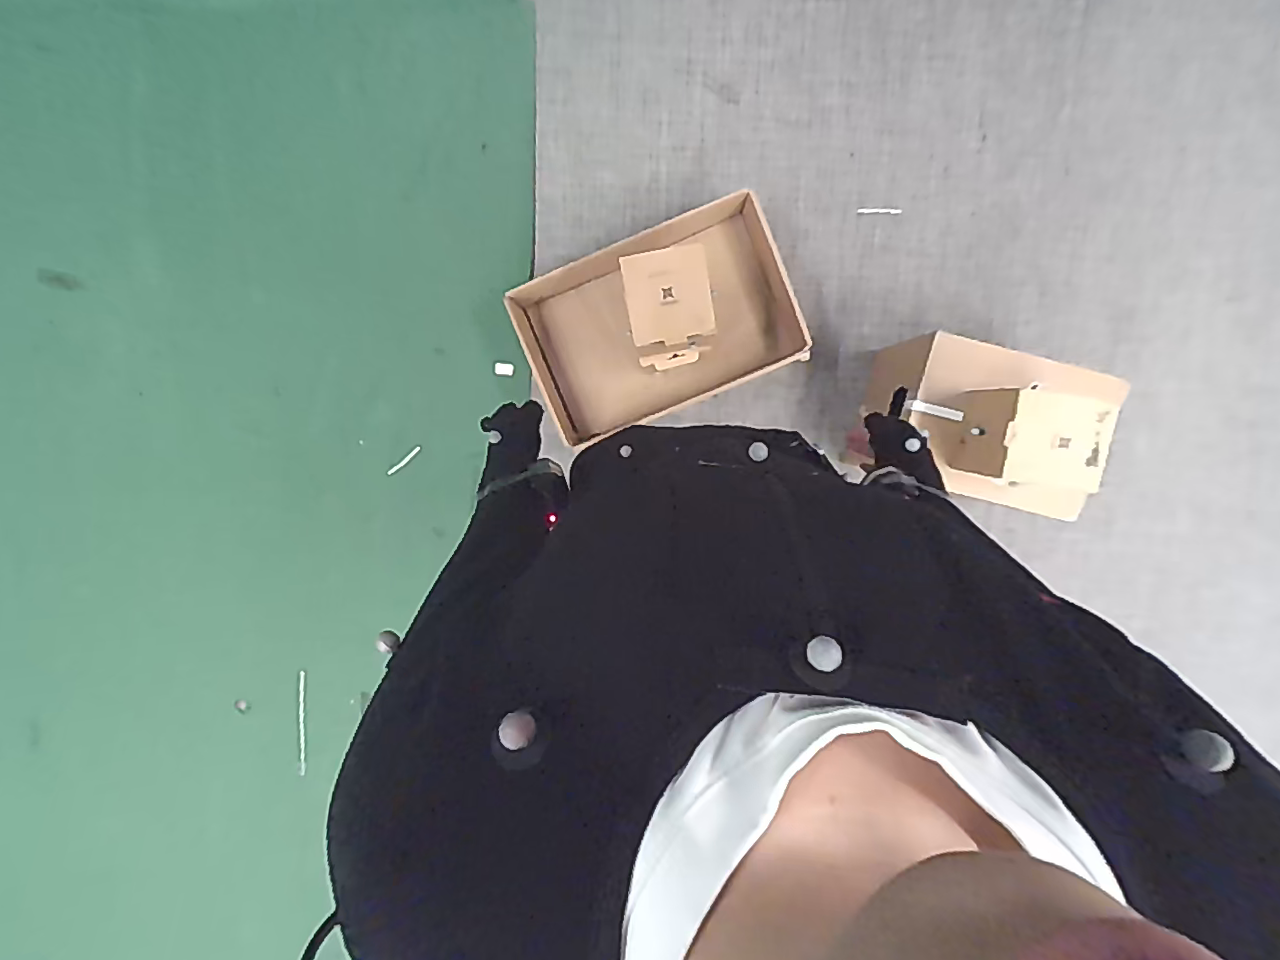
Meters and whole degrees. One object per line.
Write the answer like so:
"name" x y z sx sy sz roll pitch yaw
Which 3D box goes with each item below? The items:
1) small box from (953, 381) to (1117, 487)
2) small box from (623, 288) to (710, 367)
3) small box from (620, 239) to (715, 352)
"small box" 0.738 -0.089 1.033 0.179 0.176 0.168 9 98 2
"small box" 0.067 -0.376 1.291 0.168 0.176 0.179 -14 94 5
"small box" 0.059 -0.373 1.129 0.168 0.176 0.179 -10 94 4
